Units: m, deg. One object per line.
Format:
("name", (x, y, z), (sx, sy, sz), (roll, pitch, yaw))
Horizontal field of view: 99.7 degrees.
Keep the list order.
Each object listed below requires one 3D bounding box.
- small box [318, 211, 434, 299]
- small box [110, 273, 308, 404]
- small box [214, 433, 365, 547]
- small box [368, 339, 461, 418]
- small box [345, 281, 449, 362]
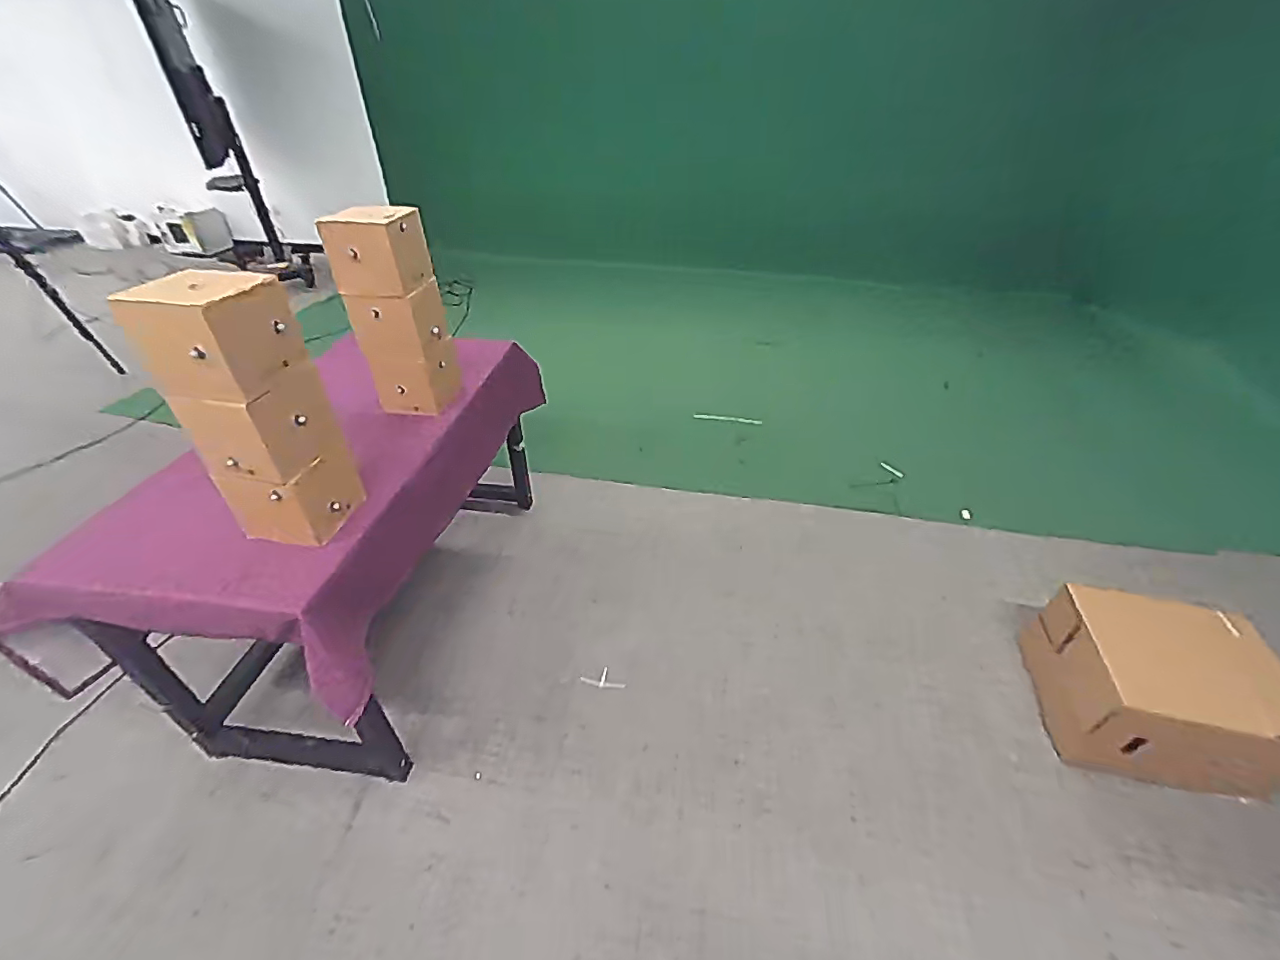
("small box", (-0.644, -0.557, 1.340), (0.179, 0.176, 0.168), (4, 38, 7))
("small box", (-0.721, -0.243, 0.933), (0.179, 0.176, 0.168), (6, 37, 9))
("small box", (-0.717, 0.021, 1.127), (0.179, 0.176, 0.168), (6, 37, 7))
("small box", (-0.628, -0.292, 1.536), (0.168, 0.176, 0.179), (6, 38, 8))
("small box", (-0.636, -0.423, 1.437), (0.179, 0.176, 0.168), (5, 38, 6))
